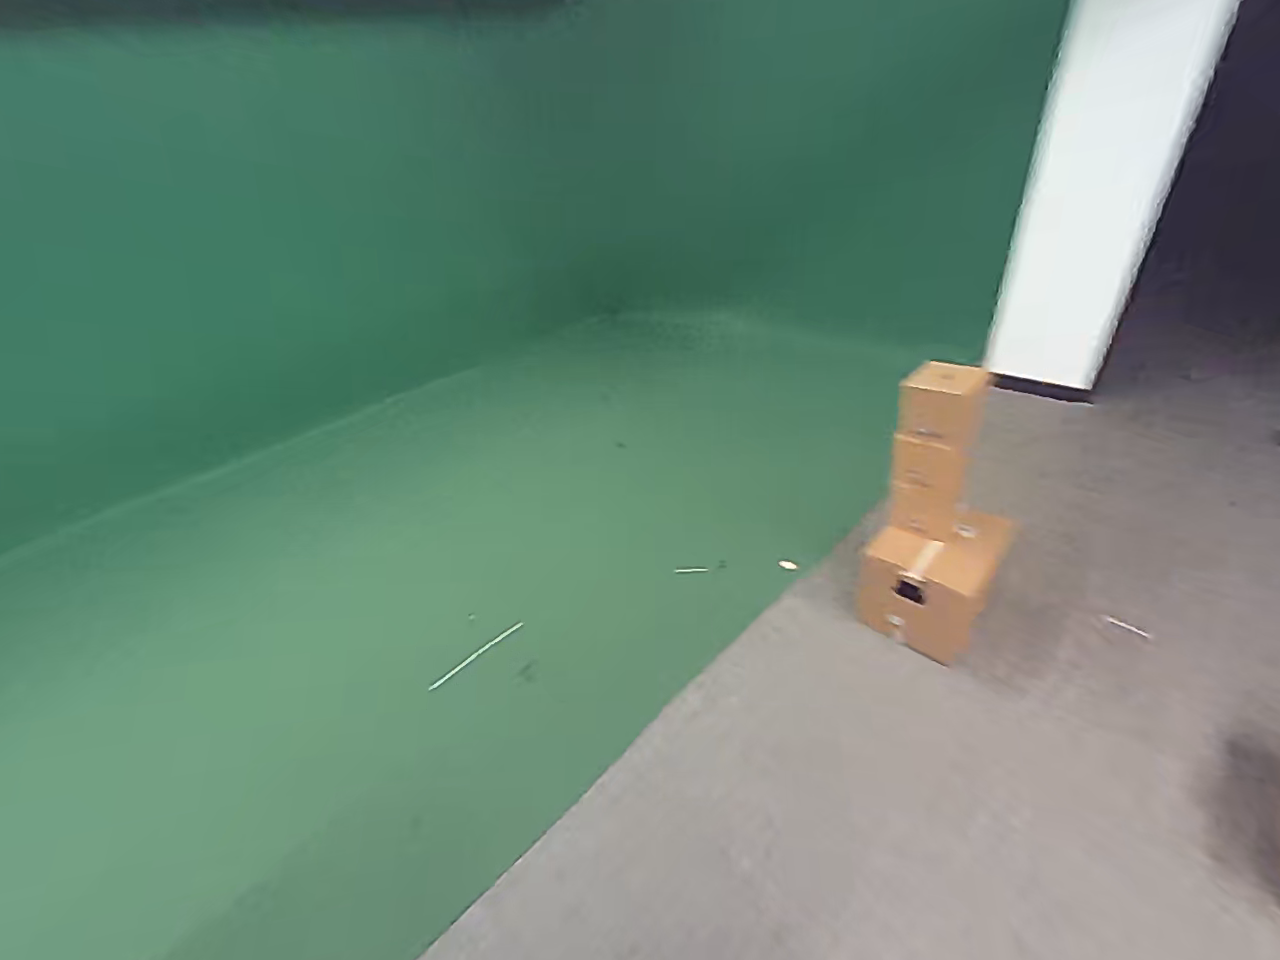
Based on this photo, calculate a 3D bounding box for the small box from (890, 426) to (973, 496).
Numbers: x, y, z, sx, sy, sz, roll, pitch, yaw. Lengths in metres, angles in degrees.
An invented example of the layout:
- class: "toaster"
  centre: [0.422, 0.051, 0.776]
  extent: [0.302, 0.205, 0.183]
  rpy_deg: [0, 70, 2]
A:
- class: "small box"
  centre: [0.869, -0.080, 1.625]
  extent: [0.168, 0.176, 0.179]
  rpy_deg: [22, 46, 41]

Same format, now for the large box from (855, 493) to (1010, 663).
- class: "large box"
  centre: [0.945, 0.306, 1.770]
  extent: [0.320, 0.320, 0.408]
  rpy_deg: [24, 46, 39]

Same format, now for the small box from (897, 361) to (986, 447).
- class: "small box"
  centre: [0.850, -0.217, 1.538]
  extent: [0.179, 0.176, 0.168]
  rpy_deg: [-35, 38, -30]
